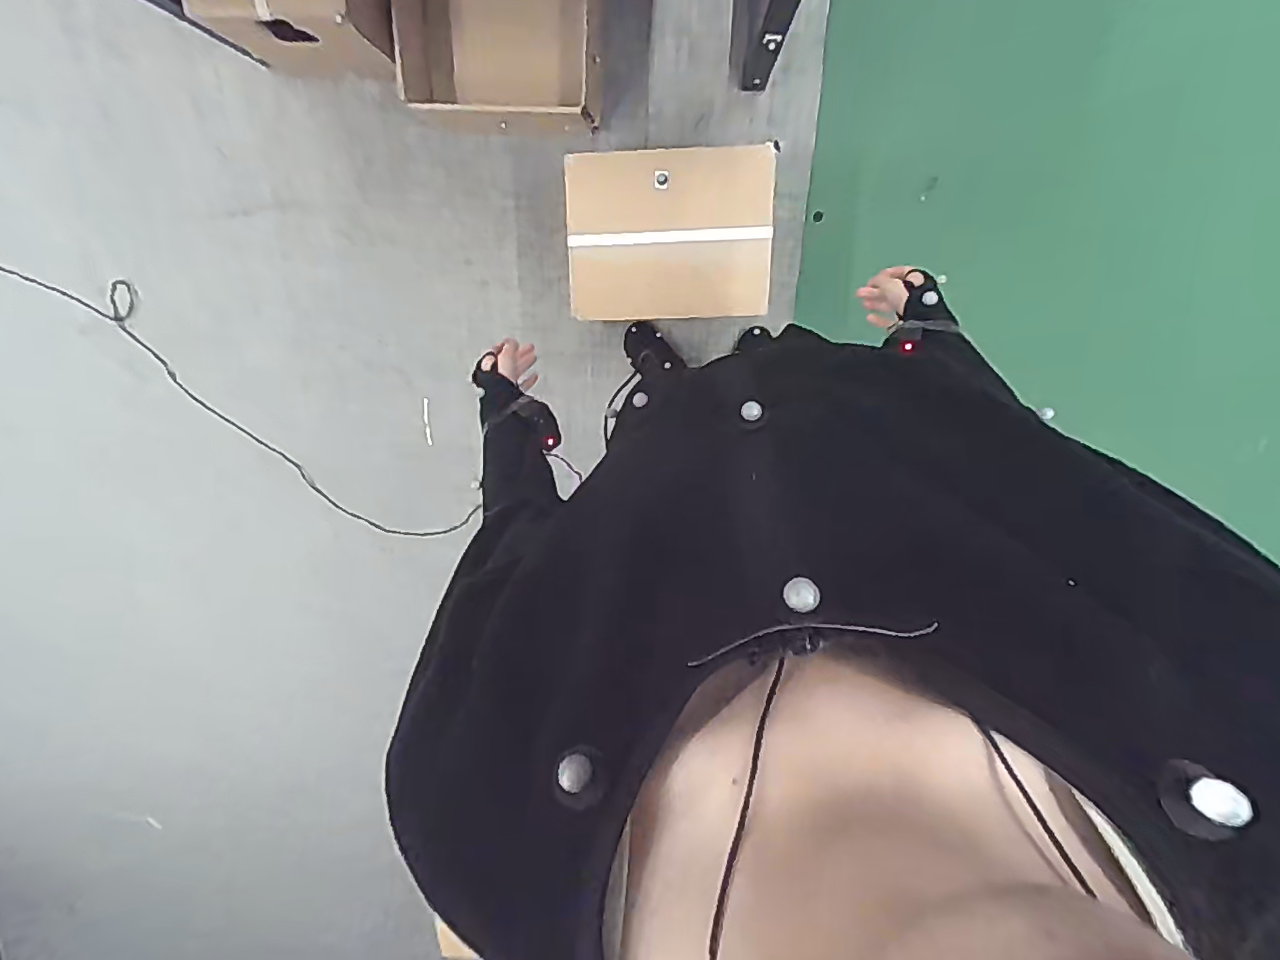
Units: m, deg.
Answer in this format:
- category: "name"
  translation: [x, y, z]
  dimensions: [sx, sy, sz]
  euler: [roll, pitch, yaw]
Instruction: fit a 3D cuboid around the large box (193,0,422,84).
- category: "large box"
  translation: [-0.665, -1.082, 1.078]
  dimensions: [0.320, 0.320, 0.408]
  euler: [3, 110, 3]
